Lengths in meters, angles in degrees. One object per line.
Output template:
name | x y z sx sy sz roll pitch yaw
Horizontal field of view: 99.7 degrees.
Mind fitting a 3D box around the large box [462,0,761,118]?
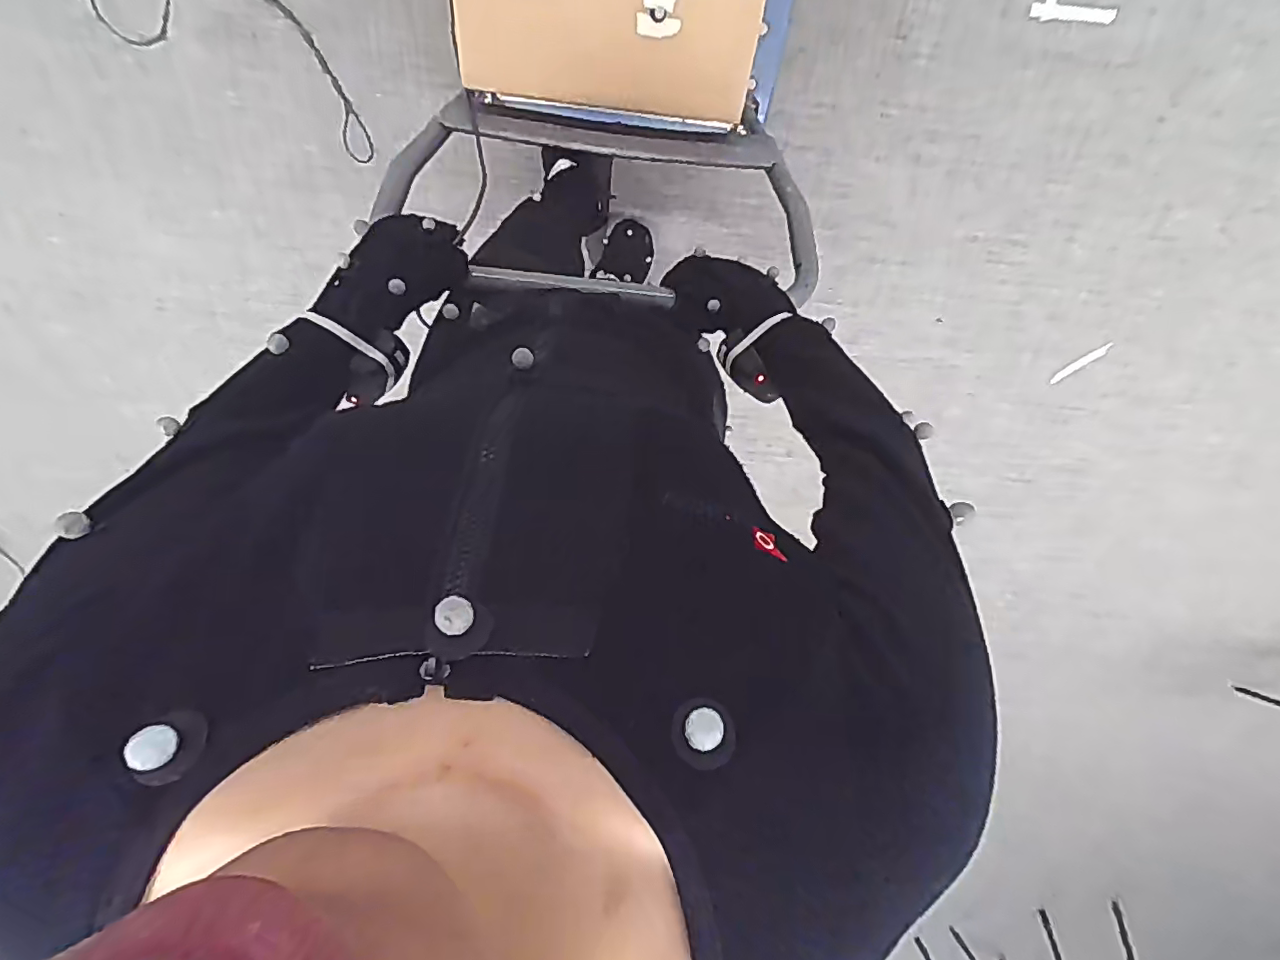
large box | -0.038 -0.765 0.800 0.408 0.320 0.320 4 134 -5
